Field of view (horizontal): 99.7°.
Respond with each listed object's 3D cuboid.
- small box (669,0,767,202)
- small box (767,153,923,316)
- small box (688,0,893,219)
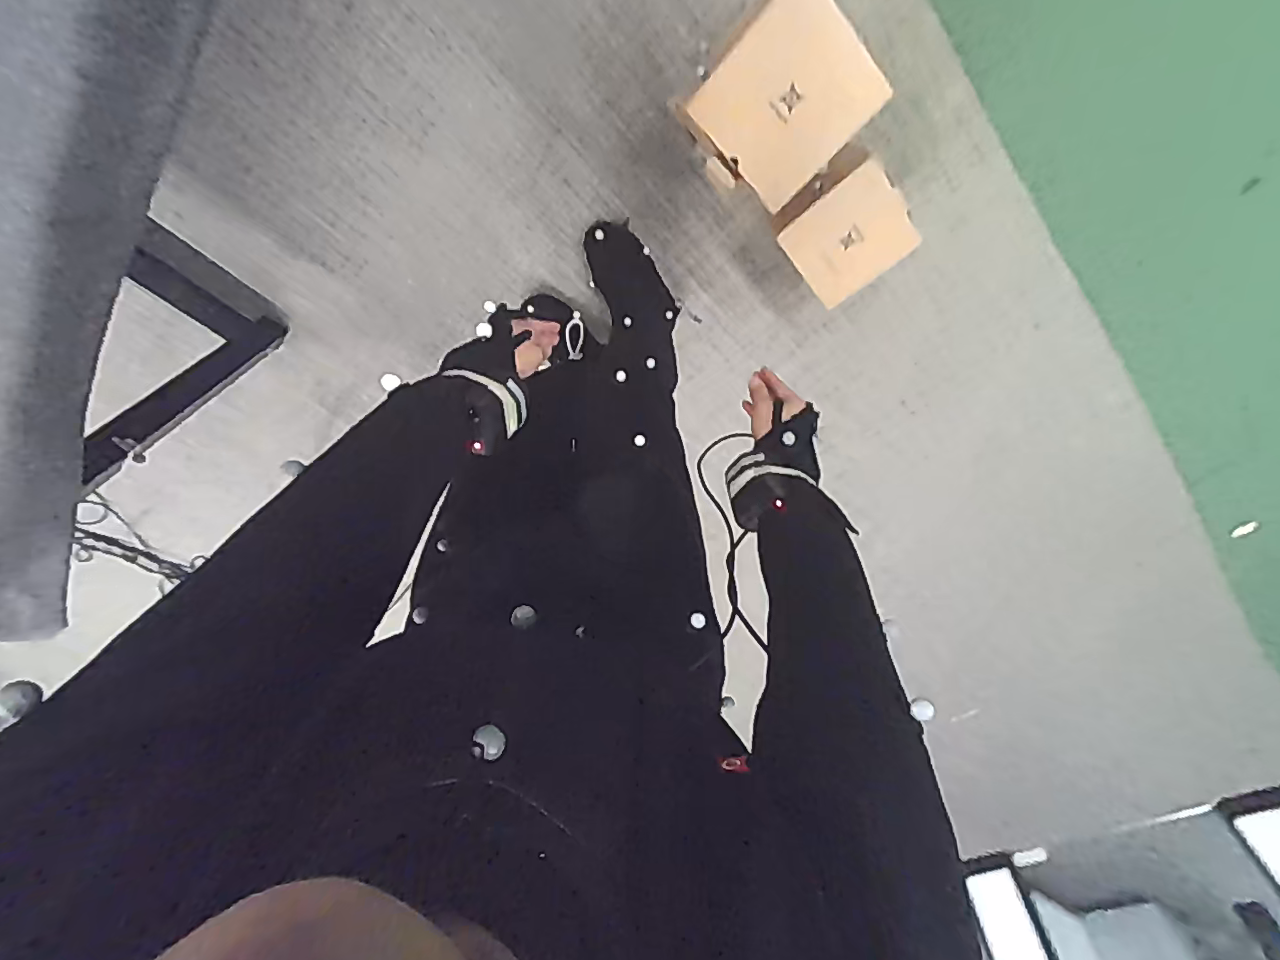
[{"bbox_3d":[0.163,-0.565,0.821,0.168,0.176,0.179,39,119,-23],"label":"small box"},{"bbox_3d":[0.339,-0.423,0.925,0.179,0.176,0.168,-35,118,27],"label":"small box"},{"bbox_3d":[0.174,-0.474,0.683,0.168,0.176,0.179,37,120,-24],"label":"small box"}]
